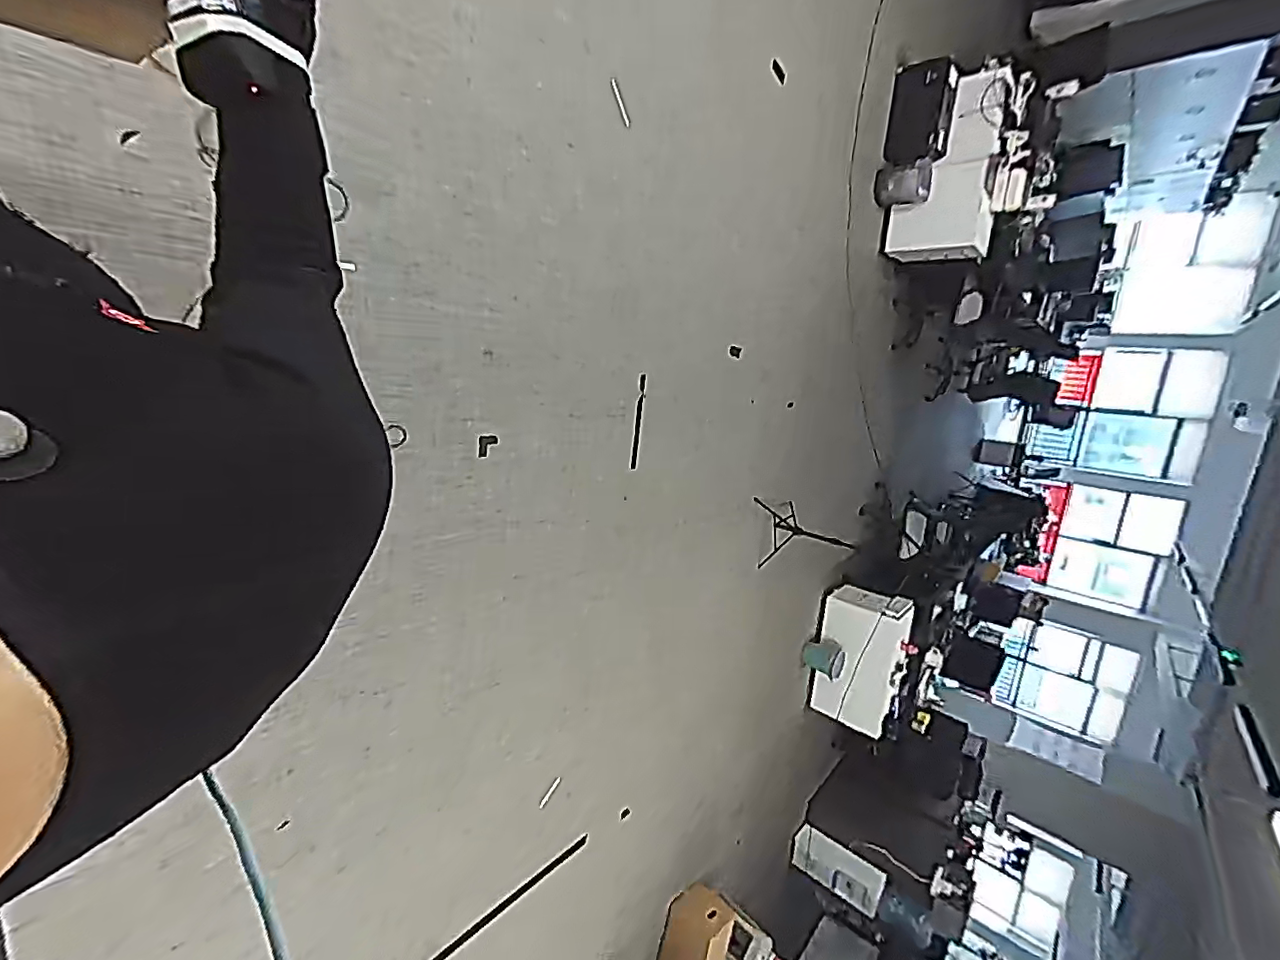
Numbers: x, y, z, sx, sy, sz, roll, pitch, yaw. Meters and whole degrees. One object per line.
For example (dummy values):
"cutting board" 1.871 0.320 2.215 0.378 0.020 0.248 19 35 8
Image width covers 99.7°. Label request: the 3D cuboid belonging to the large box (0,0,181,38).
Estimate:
"large box" -0.526 -0.509 0.277 0.408 0.320 0.320 -15 122 -48
